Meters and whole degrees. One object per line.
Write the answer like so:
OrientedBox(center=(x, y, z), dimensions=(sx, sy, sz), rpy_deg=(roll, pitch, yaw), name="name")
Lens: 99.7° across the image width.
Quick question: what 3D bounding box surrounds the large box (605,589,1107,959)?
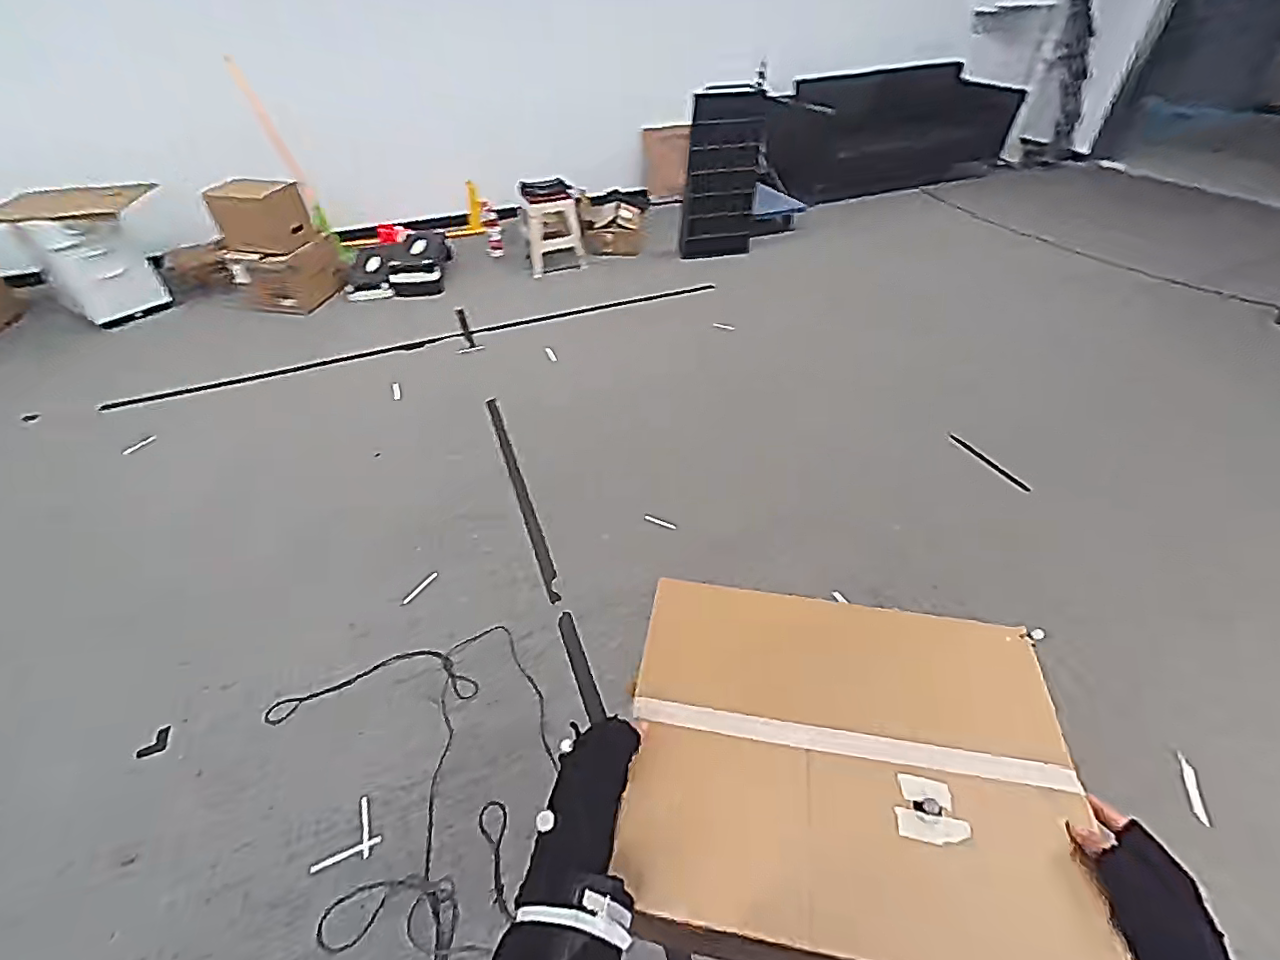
OrientedBox(center=(0.188, 0.361, 0.640), dimensions=(0.408, 0.320, 0.320), rpy_deg=(6, 47, 8), name="large box")
